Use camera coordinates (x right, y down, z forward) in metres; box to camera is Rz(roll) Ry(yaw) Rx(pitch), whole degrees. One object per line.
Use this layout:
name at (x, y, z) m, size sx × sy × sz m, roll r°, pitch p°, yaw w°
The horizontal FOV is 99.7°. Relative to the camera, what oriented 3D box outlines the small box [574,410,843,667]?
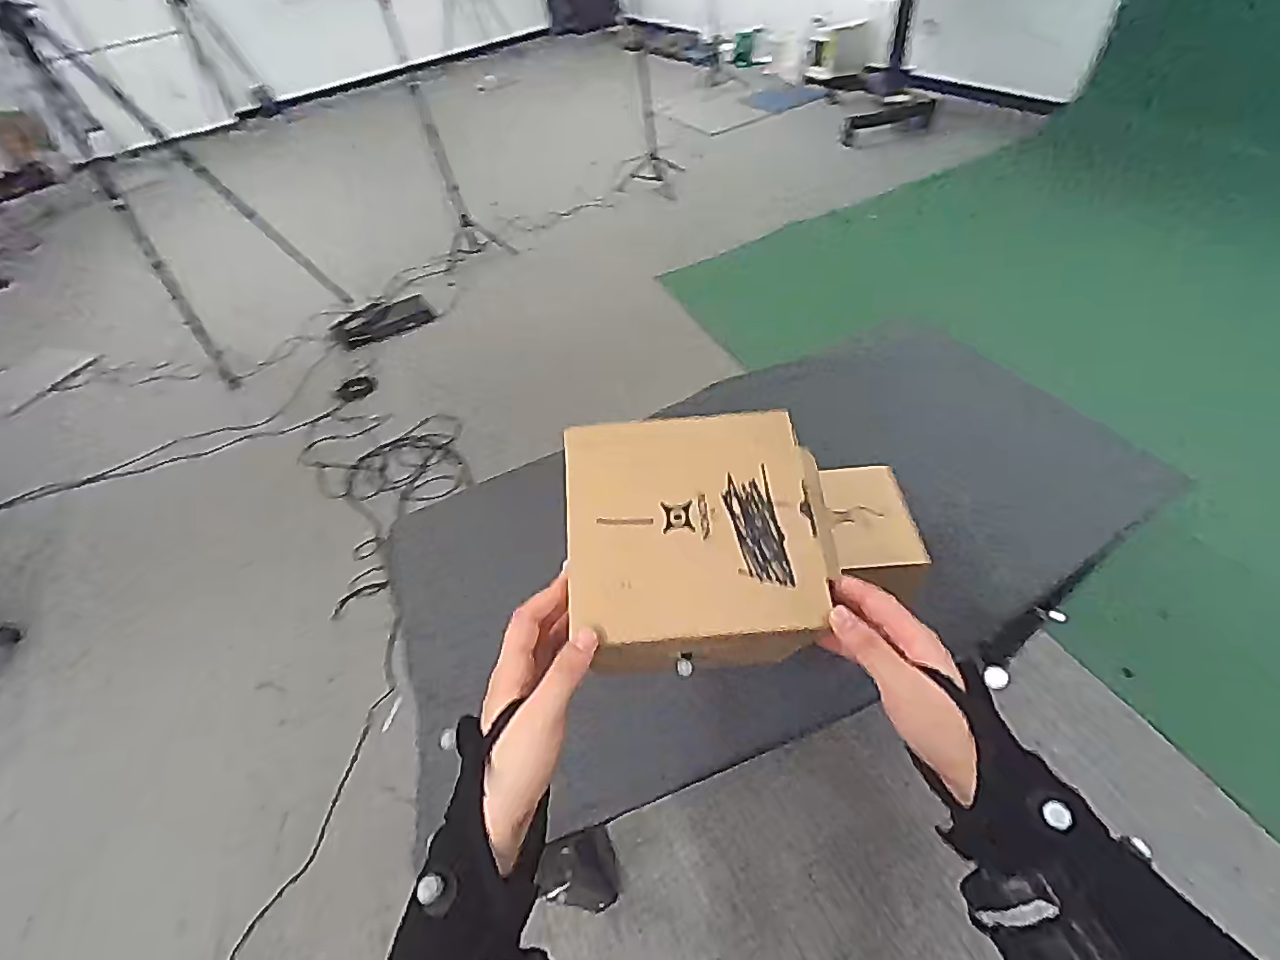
small box at (0.042, 0.058, 0.449) m, size 0.179 × 0.176 × 0.168 m, roll -4°, pitch 65°, yaw 0°
